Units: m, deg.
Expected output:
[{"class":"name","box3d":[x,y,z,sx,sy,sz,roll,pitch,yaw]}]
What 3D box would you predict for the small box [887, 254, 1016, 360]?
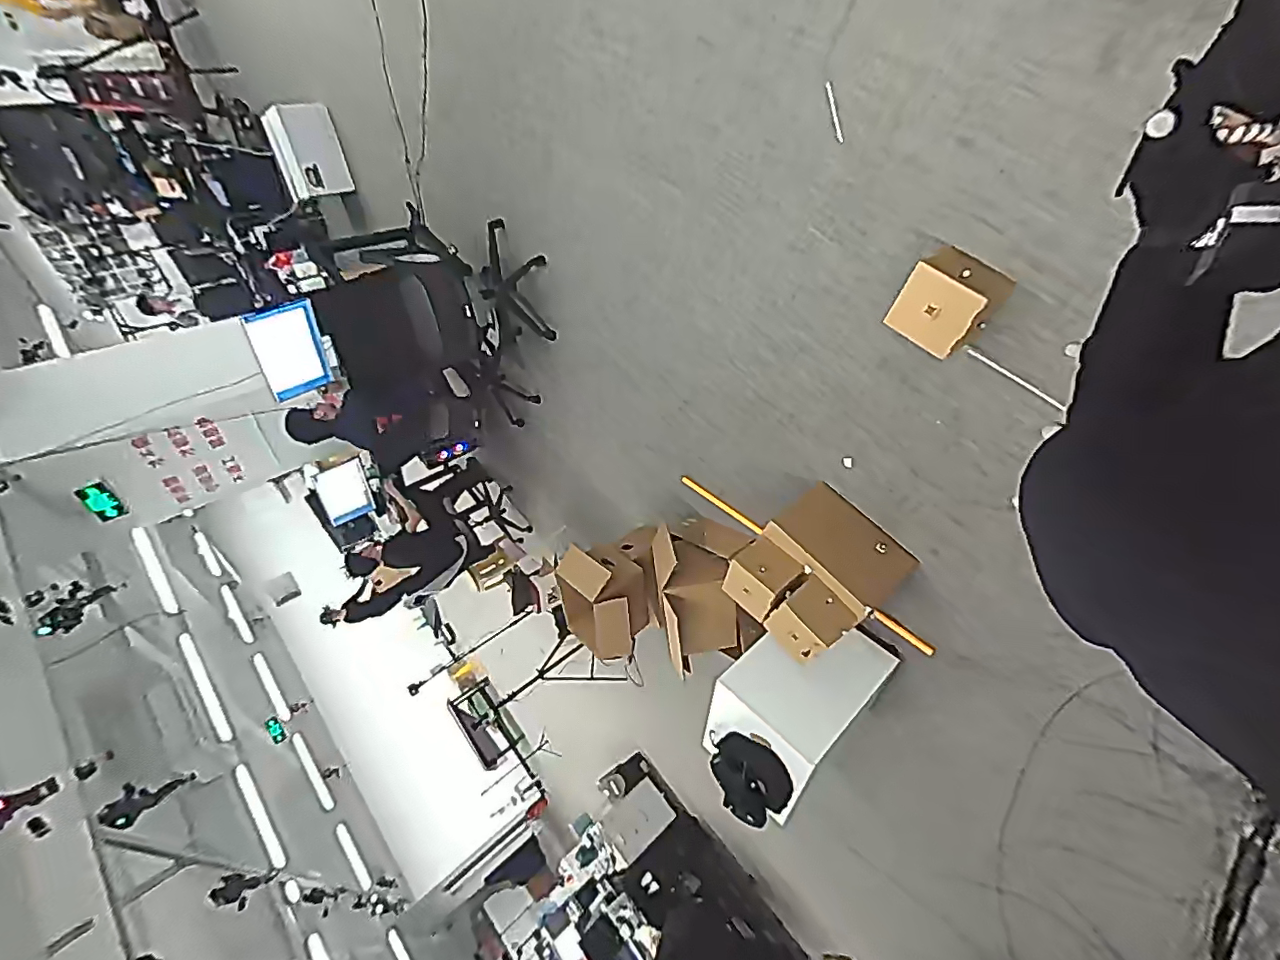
[{"class":"small box","box3d":[0.741,-0.420,1.291,0.179,0.176,0.168,44,145,23]}]
